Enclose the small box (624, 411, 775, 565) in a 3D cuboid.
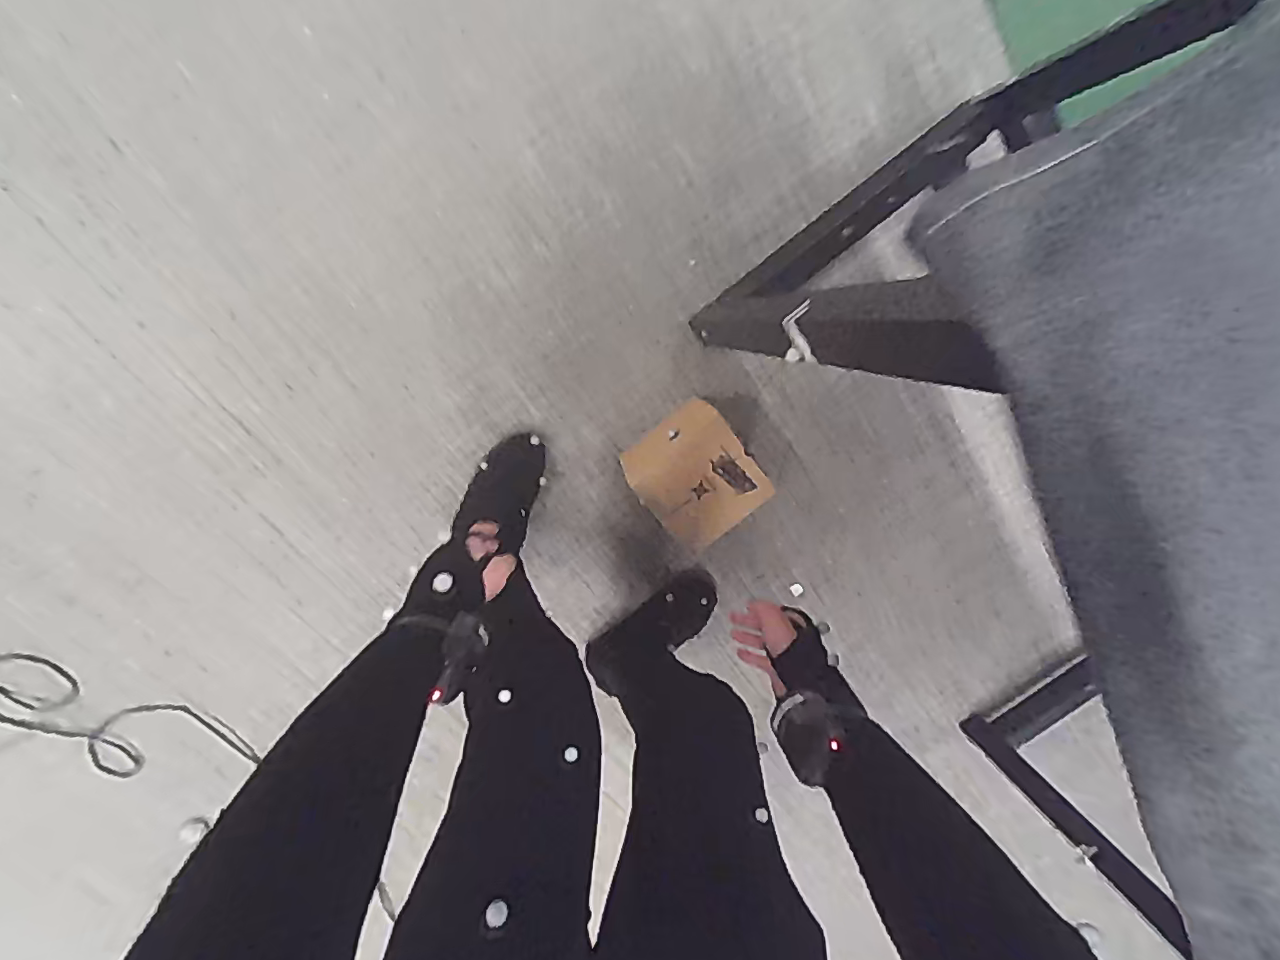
[{"bbox_3d":[0.089,0.003,0.908,0.179,0.176,0.168,-39,106,6],"label":"small box"}]
